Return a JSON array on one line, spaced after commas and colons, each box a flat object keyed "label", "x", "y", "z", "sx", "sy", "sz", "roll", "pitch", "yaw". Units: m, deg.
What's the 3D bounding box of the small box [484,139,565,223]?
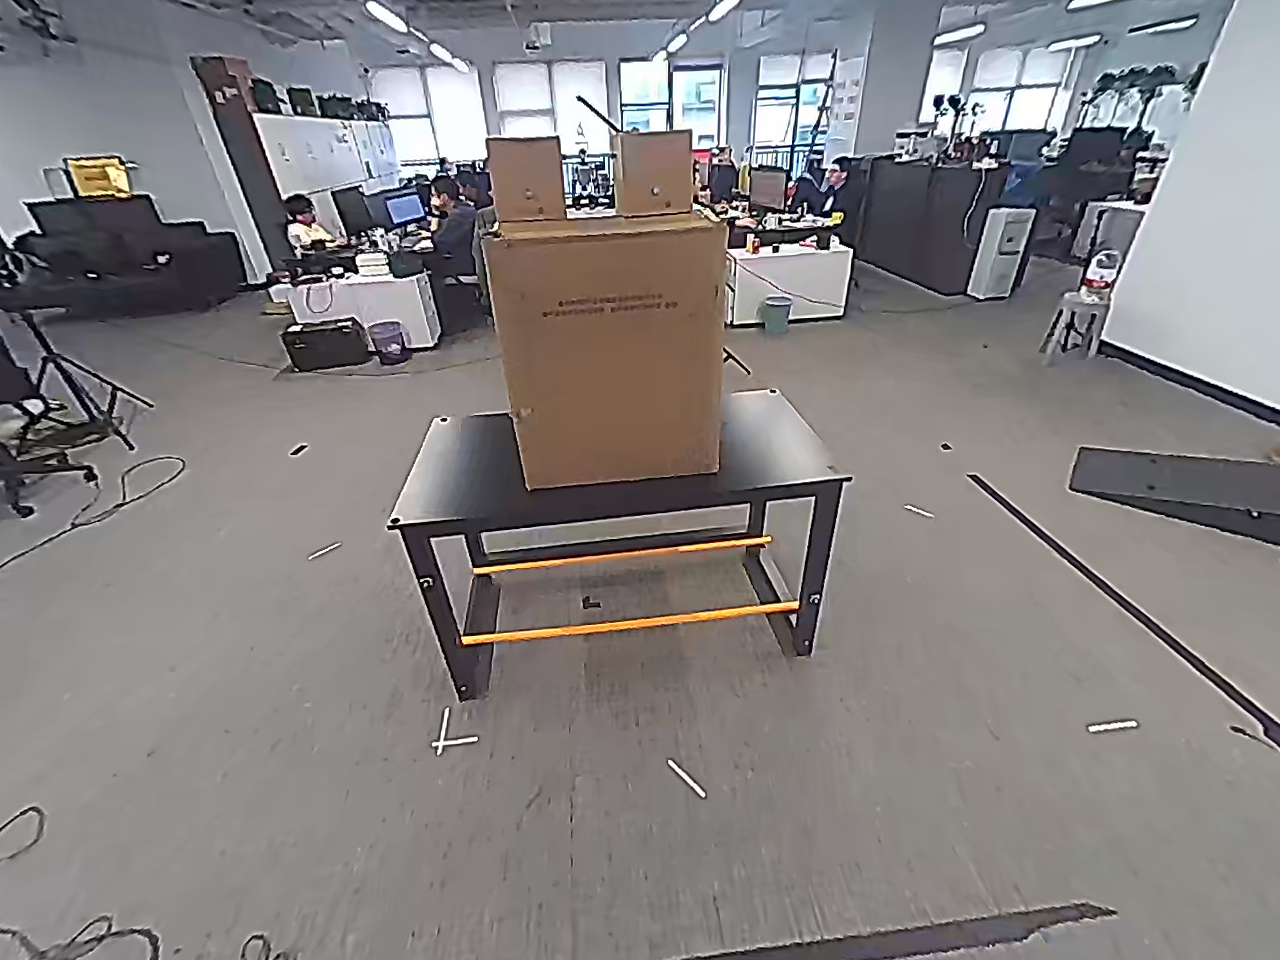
[{"label": "small box", "x": -0.272, "y": -0.718, "z": 1.301, "sx": 0.168, "sy": 0.176, "sz": 0.179, "roll": -6, "pitch": 32, "yaw": -7}]

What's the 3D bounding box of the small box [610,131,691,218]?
[{"label": "small box", "x": 0.022, "y": -0.731, "z": 1.297, "sx": 0.168, "sy": 0.176, "sz": 0.179, "roll": -8, "pitch": 32, "yaw": -6}]
